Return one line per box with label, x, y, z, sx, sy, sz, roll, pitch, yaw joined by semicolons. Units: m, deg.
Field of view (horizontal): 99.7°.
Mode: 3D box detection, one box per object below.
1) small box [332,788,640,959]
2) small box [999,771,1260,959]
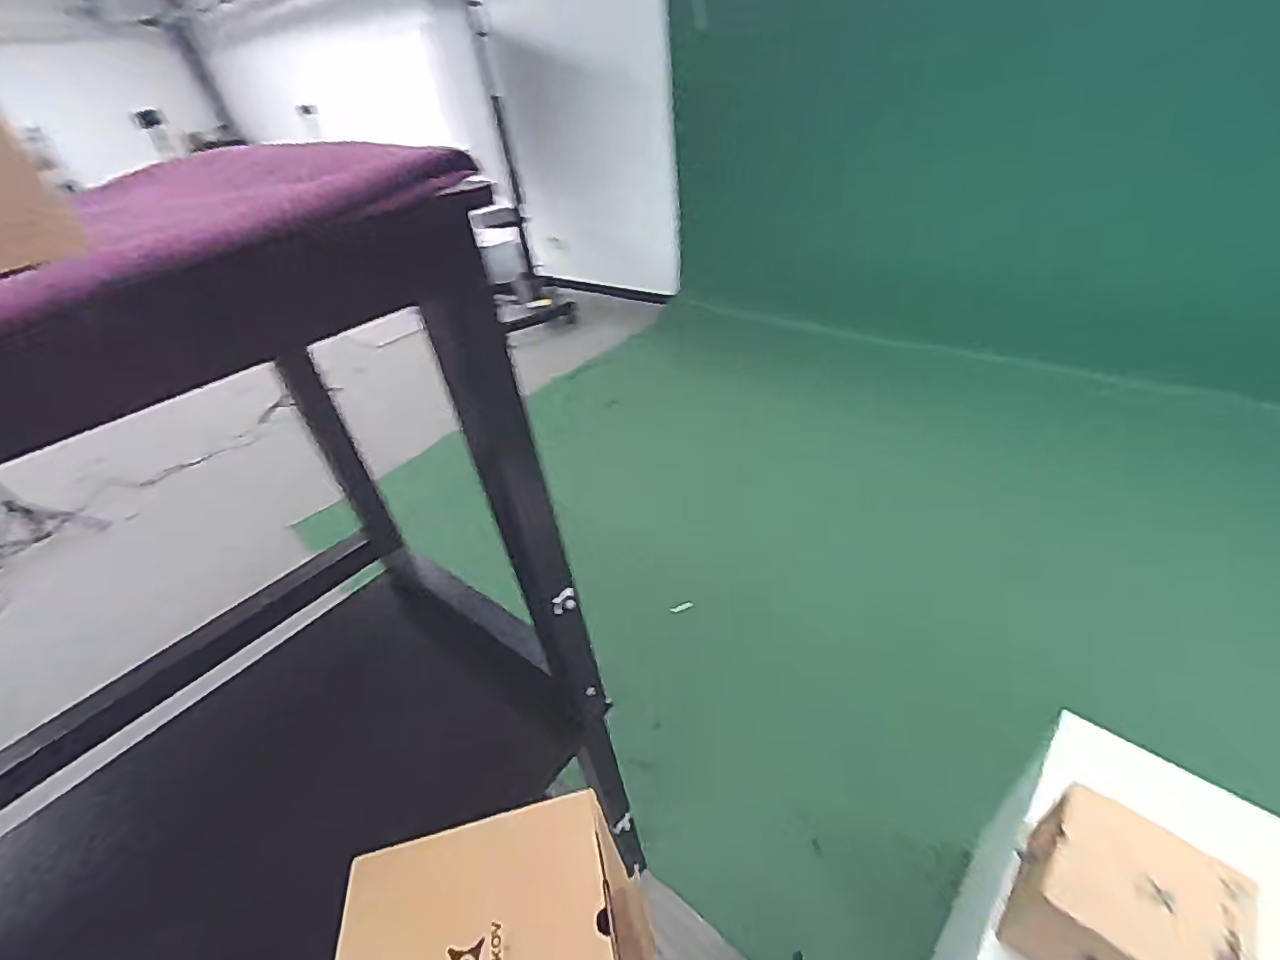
small box;-0.091;0.352;0.368;0.179;0.176;0.168;-12;36;-6
small box;0.557;0.498;0.634;0.179;0.176;0.168;25;48;35
